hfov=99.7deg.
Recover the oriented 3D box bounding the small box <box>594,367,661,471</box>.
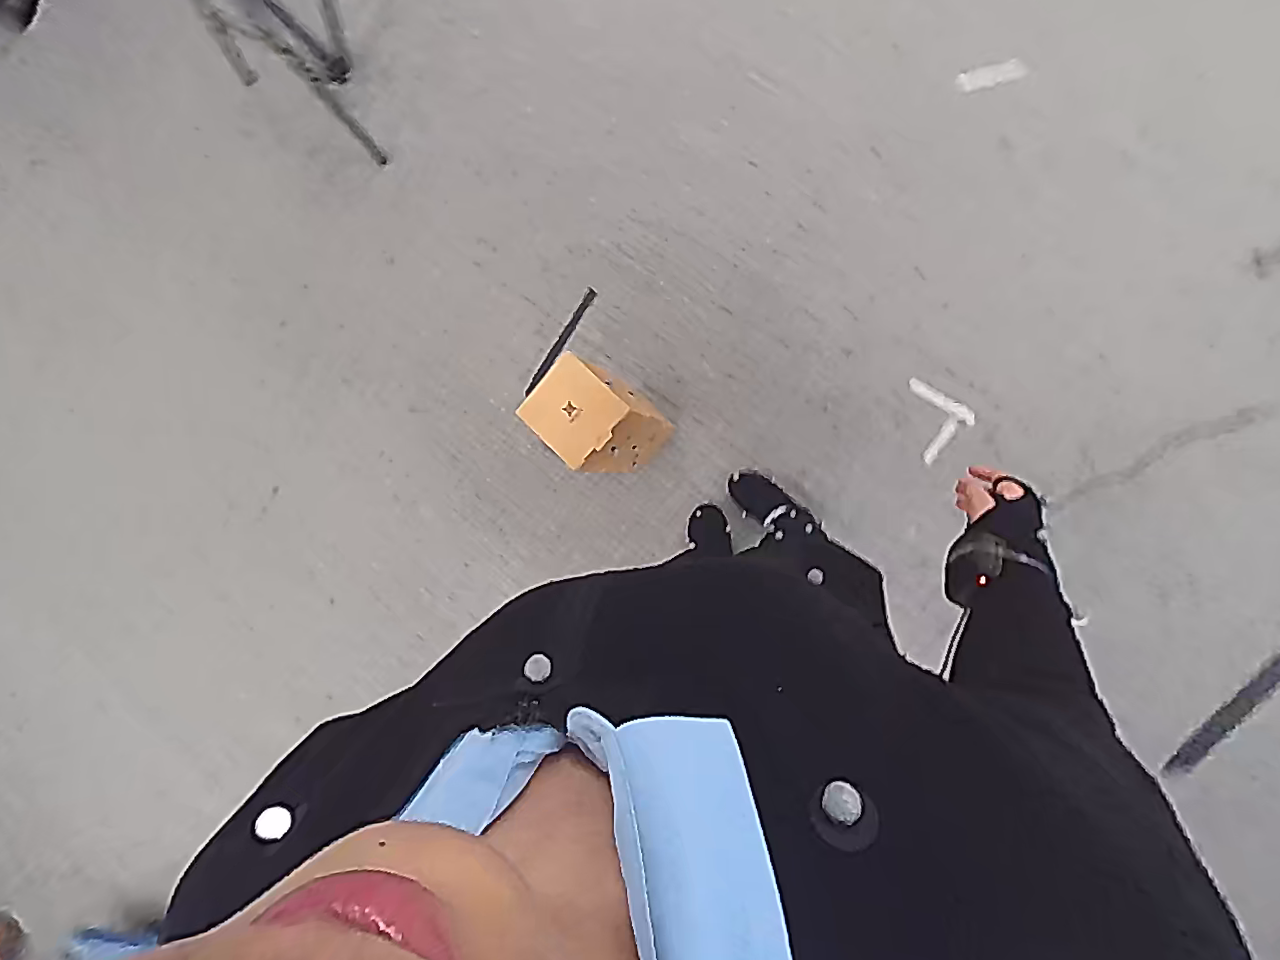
[{"bbox_3d":[-0.071,-0.139,1.273,0.179,0.176,0.168,44,99,9],"label":"small box"}]

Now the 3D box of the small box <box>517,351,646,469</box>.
[{"bbox_3d":[-0.112,-0.134,1.116,0.179,0.176,0.168,43,100,9],"label":"small box"}]
